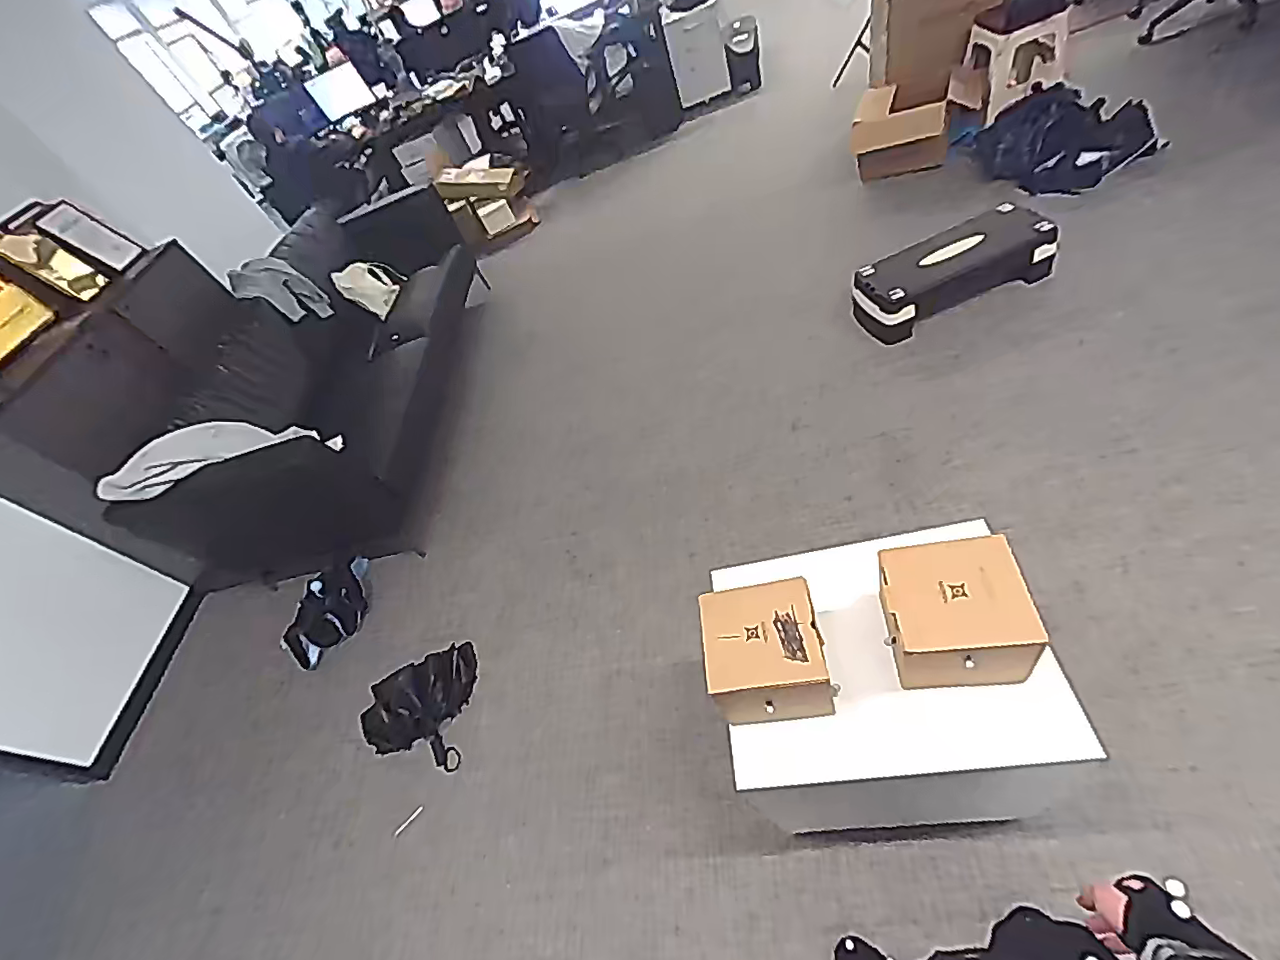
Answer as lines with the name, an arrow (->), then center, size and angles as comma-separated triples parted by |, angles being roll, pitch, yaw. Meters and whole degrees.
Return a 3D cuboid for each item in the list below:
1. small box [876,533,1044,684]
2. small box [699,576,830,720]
small box -> 0.472, 0.203, 0.826 | 0.179, 0.176, 0.168 | -10, 51, 17
small box -> 0.206, 0.280, 0.883 | 0.179, 0.176, 0.168 | -13, 48, 15
